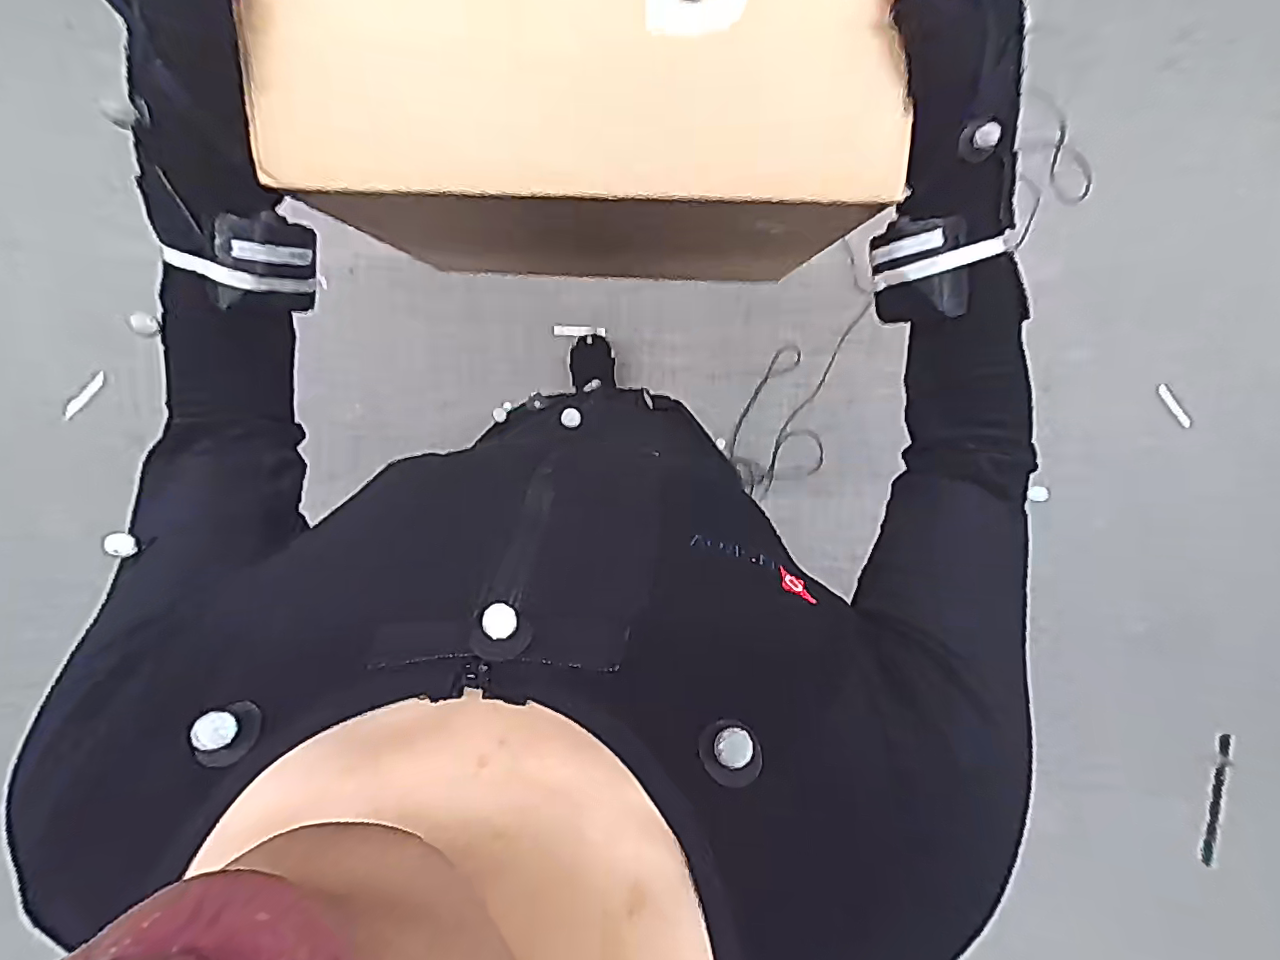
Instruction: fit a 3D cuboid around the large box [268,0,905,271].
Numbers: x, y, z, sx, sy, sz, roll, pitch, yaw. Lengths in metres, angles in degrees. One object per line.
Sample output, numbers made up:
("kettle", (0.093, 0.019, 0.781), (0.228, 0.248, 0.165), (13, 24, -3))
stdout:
("large box", (-0.034, -0.375, 0.473), (0.408, 0.320, 0.320), (1, 101, -1))
